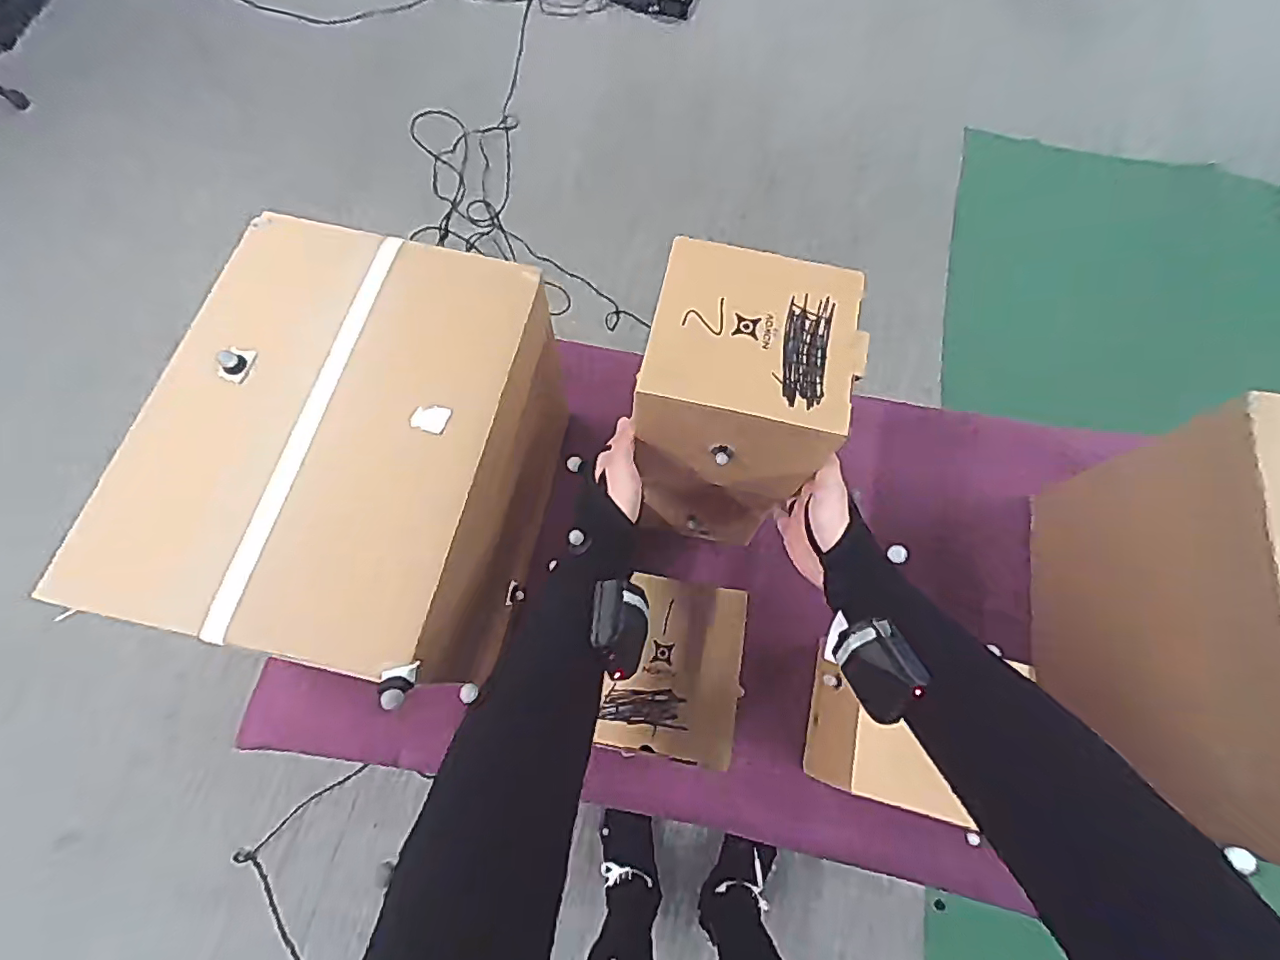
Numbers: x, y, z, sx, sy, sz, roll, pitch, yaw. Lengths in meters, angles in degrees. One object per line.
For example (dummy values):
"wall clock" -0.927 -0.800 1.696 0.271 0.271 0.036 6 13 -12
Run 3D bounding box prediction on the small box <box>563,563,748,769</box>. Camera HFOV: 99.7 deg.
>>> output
"small box" 0.019 0.211 0.624 0.168 0.176 0.179 10 69 3
